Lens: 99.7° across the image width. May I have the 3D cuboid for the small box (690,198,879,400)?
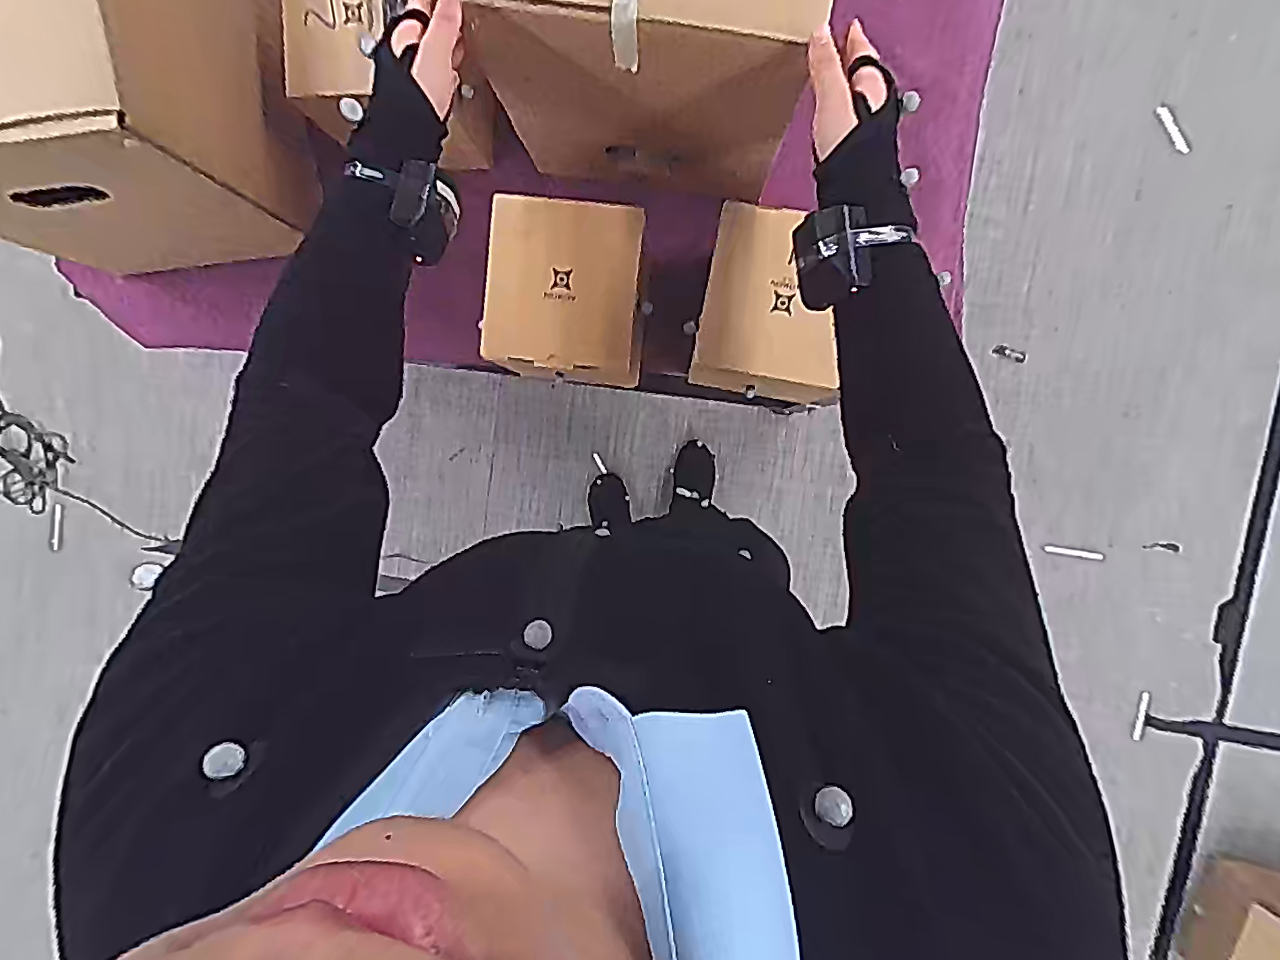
[{"bbox_3d":[0.156,-0.198,0.642,0.168,0.176,0.179,11,93,3],"label":"small box"}]
